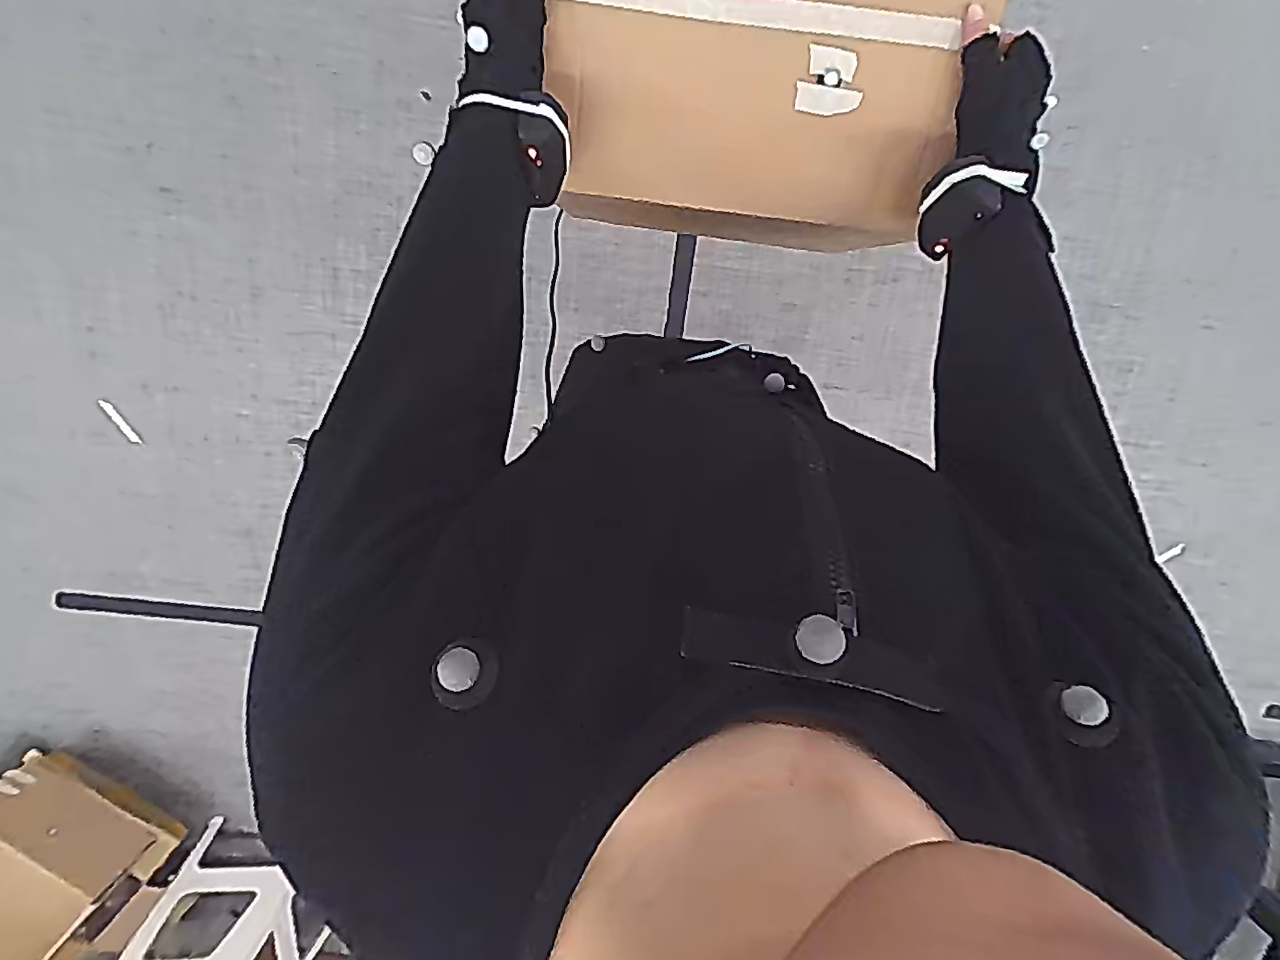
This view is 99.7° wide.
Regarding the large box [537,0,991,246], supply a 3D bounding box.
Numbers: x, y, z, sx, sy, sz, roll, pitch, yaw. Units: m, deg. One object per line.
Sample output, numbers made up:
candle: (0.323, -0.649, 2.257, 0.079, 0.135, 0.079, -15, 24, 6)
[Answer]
large box: (0.108, -0.463, 0.623, 0.408, 0.320, 0.320, 6, 112, -2)
